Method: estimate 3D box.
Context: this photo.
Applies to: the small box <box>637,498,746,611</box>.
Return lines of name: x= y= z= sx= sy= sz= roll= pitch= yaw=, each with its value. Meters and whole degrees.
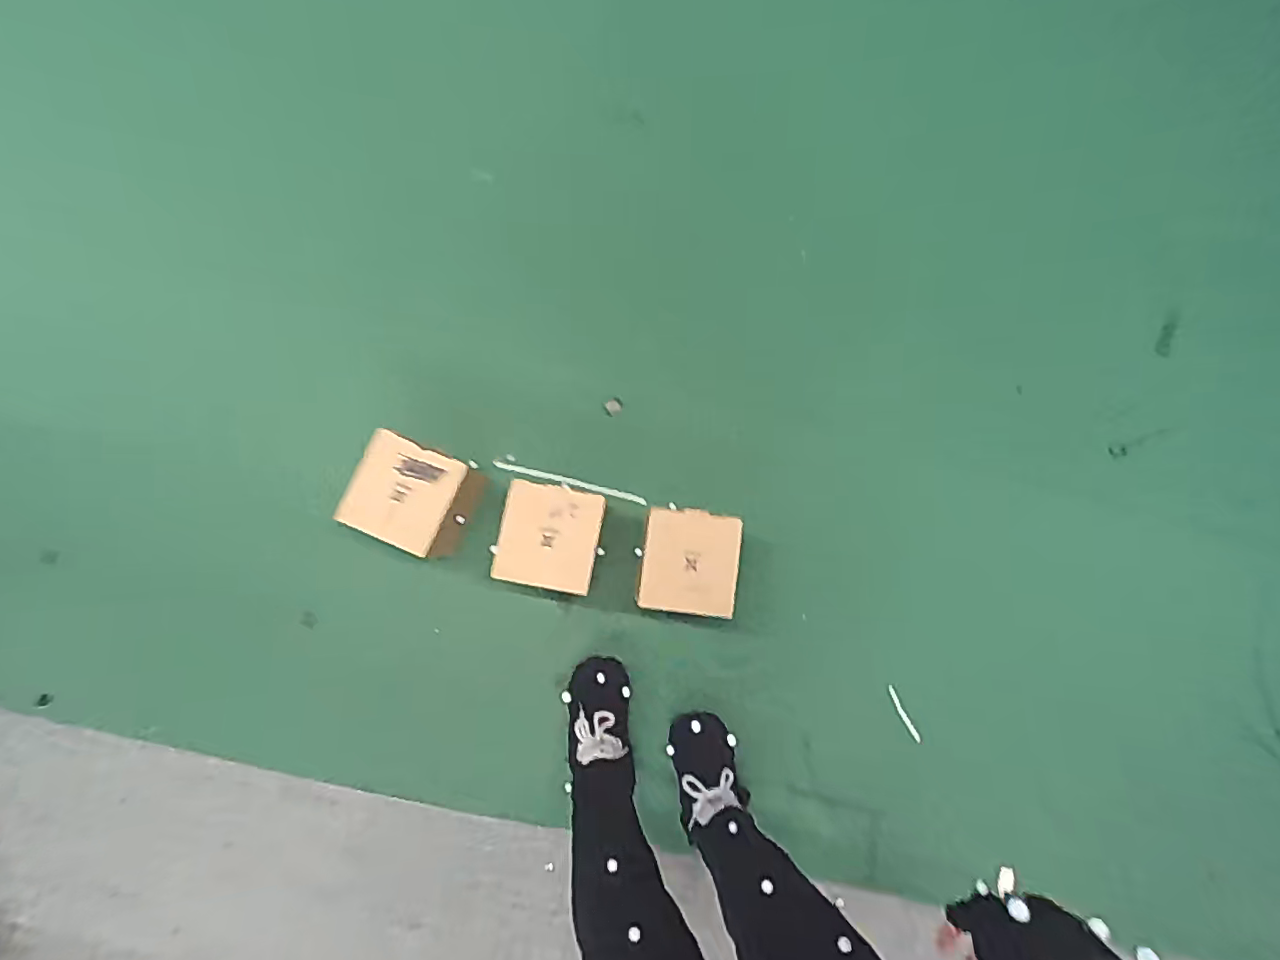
small box: x=0.089 y=0.138 z=1.016 sx=0.168 sy=0.176 sz=0.179 roll=9 pitch=83 yaw=-2

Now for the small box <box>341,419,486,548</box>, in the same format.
small box: x=-0.401 y=0.012 z=0.998 sx=0.168 sy=0.176 sz=0.179 roll=24 pitch=84 yaw=0

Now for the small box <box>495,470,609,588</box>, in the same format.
small box: x=-0.155 y=0.091 z=1.004 sx=0.168 sy=0.176 sz=0.179 roll=12 pitch=83 yaw=-3
